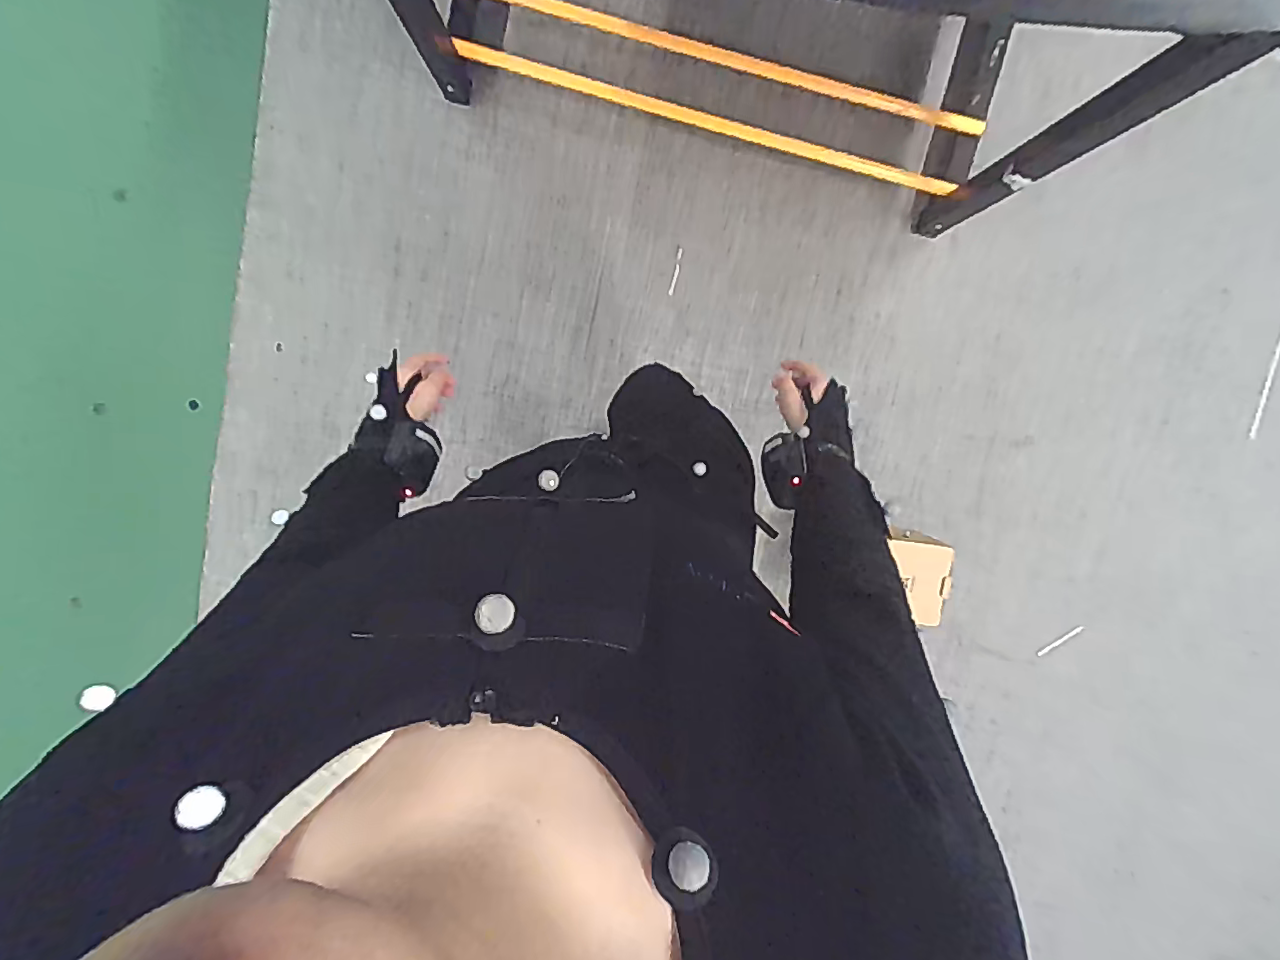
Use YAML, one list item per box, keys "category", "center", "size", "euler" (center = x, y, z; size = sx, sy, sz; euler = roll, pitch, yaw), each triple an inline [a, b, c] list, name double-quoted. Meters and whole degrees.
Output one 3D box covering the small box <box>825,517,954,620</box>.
- category: "small box"
  center: [0.520, 0.180, 1.147]
  size: [0.179, 0.176, 0.168]
  euler: [7, 97, -2]
